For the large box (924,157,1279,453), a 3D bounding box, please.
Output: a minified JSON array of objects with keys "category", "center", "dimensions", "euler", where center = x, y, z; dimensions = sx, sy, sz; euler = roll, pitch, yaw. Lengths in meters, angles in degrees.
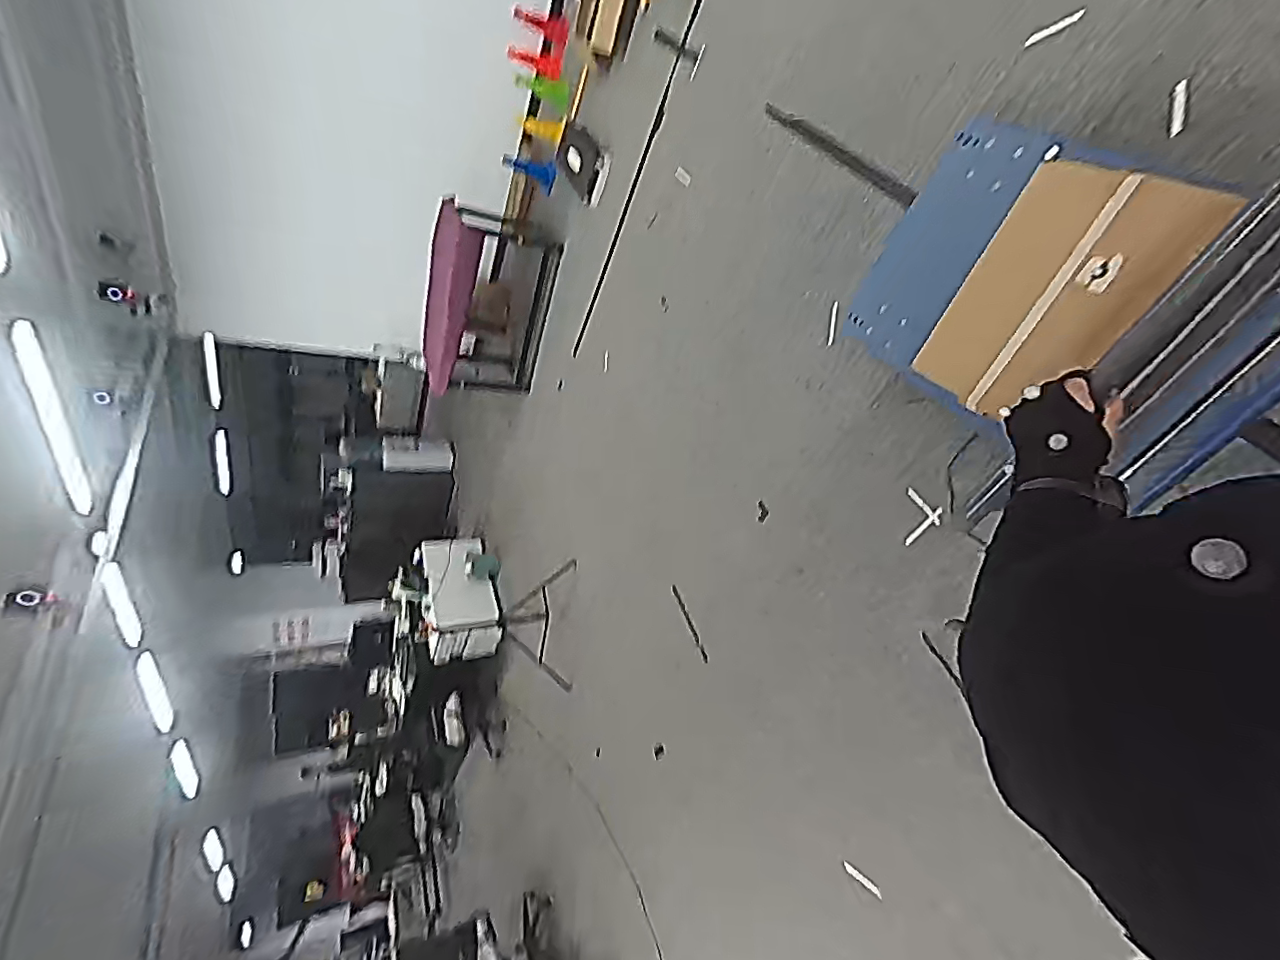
[{"category":"large box","center":[0.836,-0.301,0.997],"dimensions":[0.320,0.320,0.408],"euler":[55,133,42]}]
